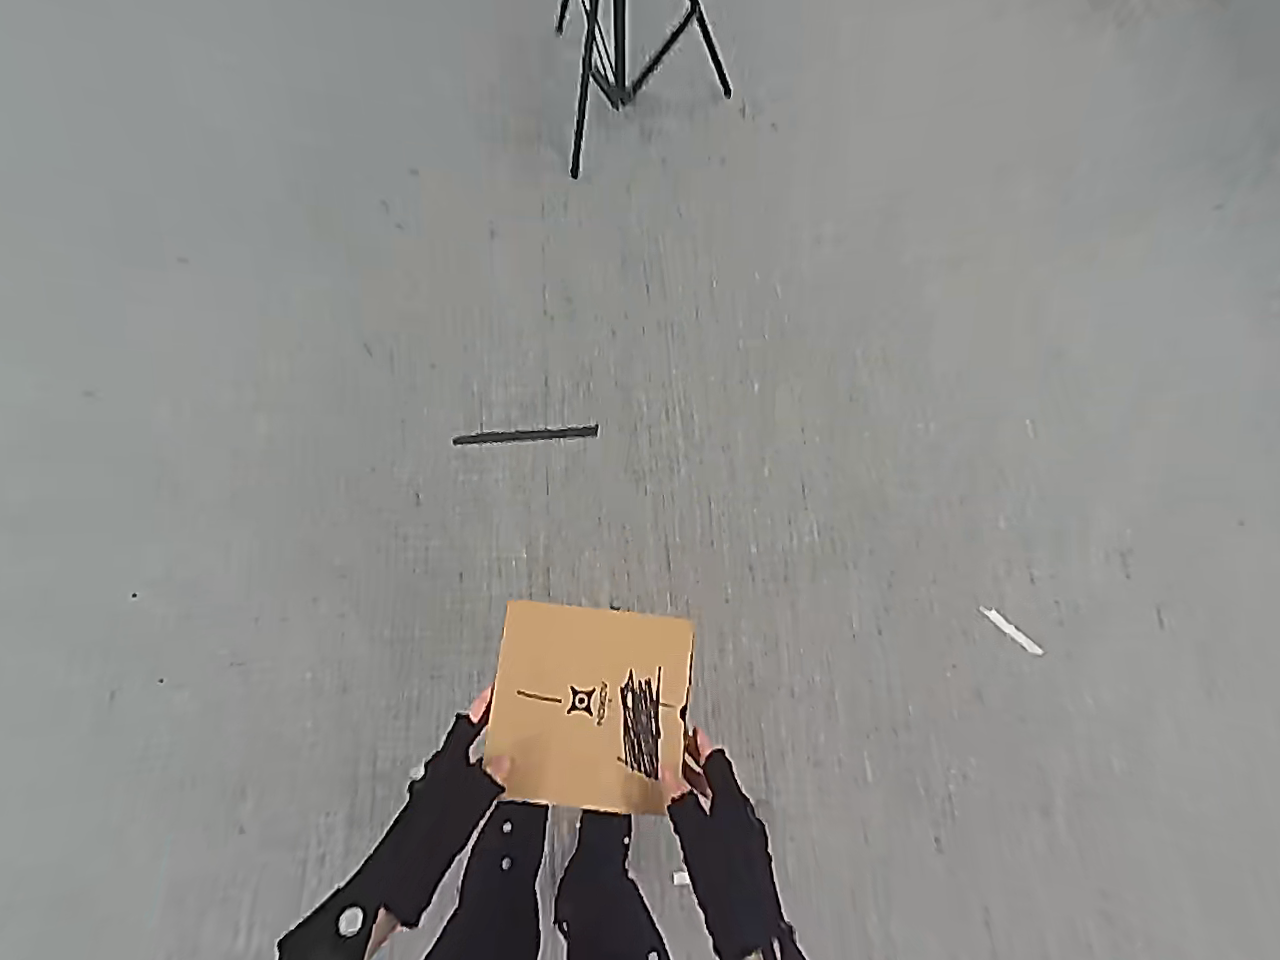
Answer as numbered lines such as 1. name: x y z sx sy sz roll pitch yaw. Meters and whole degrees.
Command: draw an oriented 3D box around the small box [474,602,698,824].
1. small box: -0.045 0.218 0.540 0.179 0.176 0.168 6 73 0
